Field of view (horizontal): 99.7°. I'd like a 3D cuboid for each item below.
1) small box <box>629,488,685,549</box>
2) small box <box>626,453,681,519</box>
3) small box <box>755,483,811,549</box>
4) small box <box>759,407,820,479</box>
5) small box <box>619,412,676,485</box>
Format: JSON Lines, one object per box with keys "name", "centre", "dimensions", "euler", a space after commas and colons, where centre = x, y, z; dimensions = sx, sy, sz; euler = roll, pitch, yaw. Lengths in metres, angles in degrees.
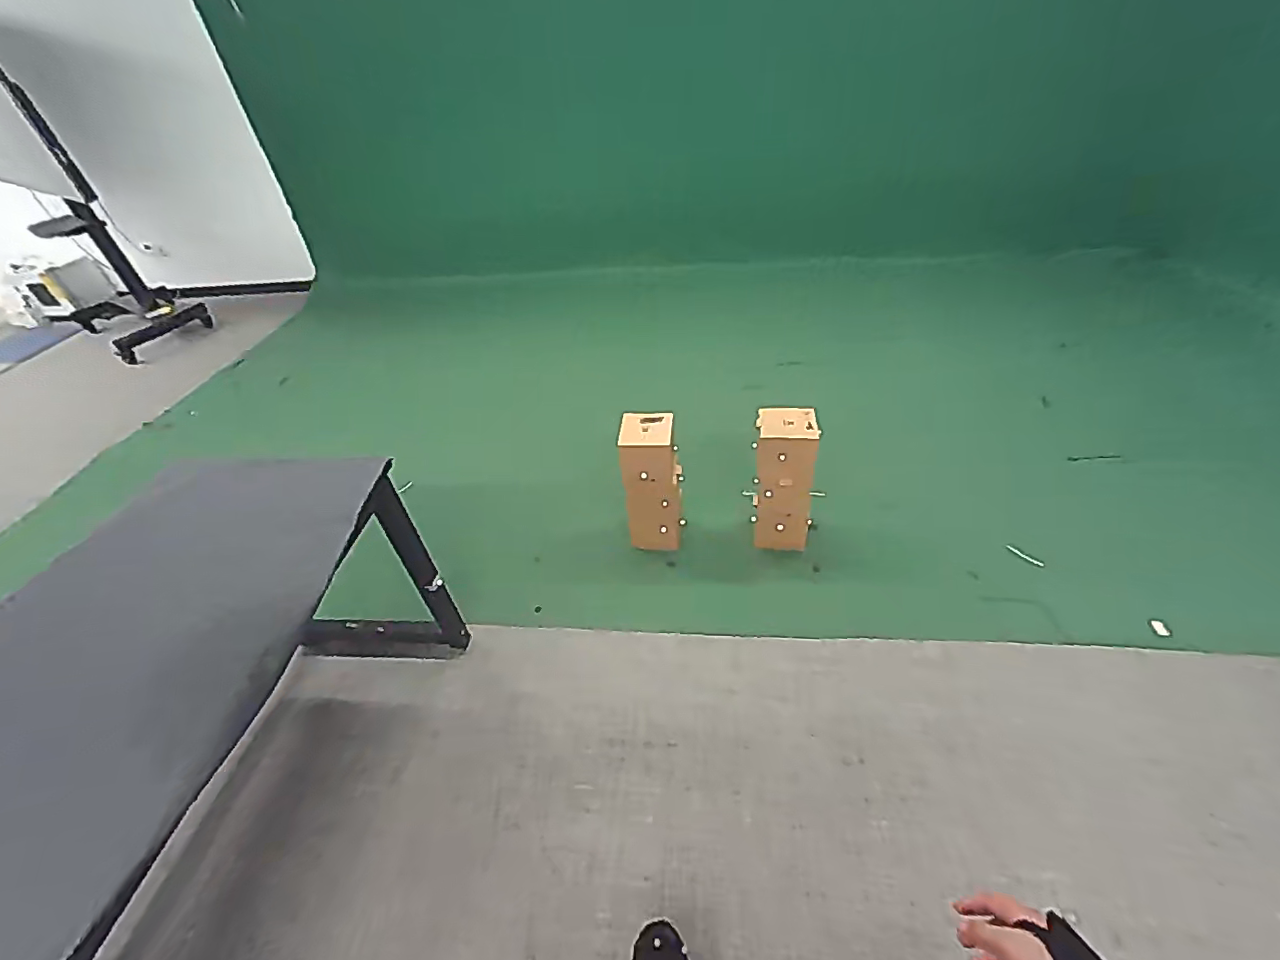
{"name": "small box", "centre": [0.068, 0.137, 1.981], "dimensions": [0.179, 0.176, 0.168], "euler": [4, 42, 12]}
{"name": "small box", "centre": [0.051, 0.022, 1.867], "dimensions": [0.179, 0.176, 0.168], "euler": [-2, 40, 6]}
{"name": "small box", "centre": [0.508, 0.131, 1.934], "dimensions": [0.179, 0.176, 0.168], "euler": [2, 42, 10]}
{"name": "small box", "centre": [0.468, -0.117, 1.722], "dimensions": [0.179, 0.176, 0.168], "euler": [1, 41, 10]}
{"name": "small box", "centre": [0.031, -0.104, 1.763], "dimensions": [0.168, 0.176, 0.179], "euler": [0, 42, 8]}
